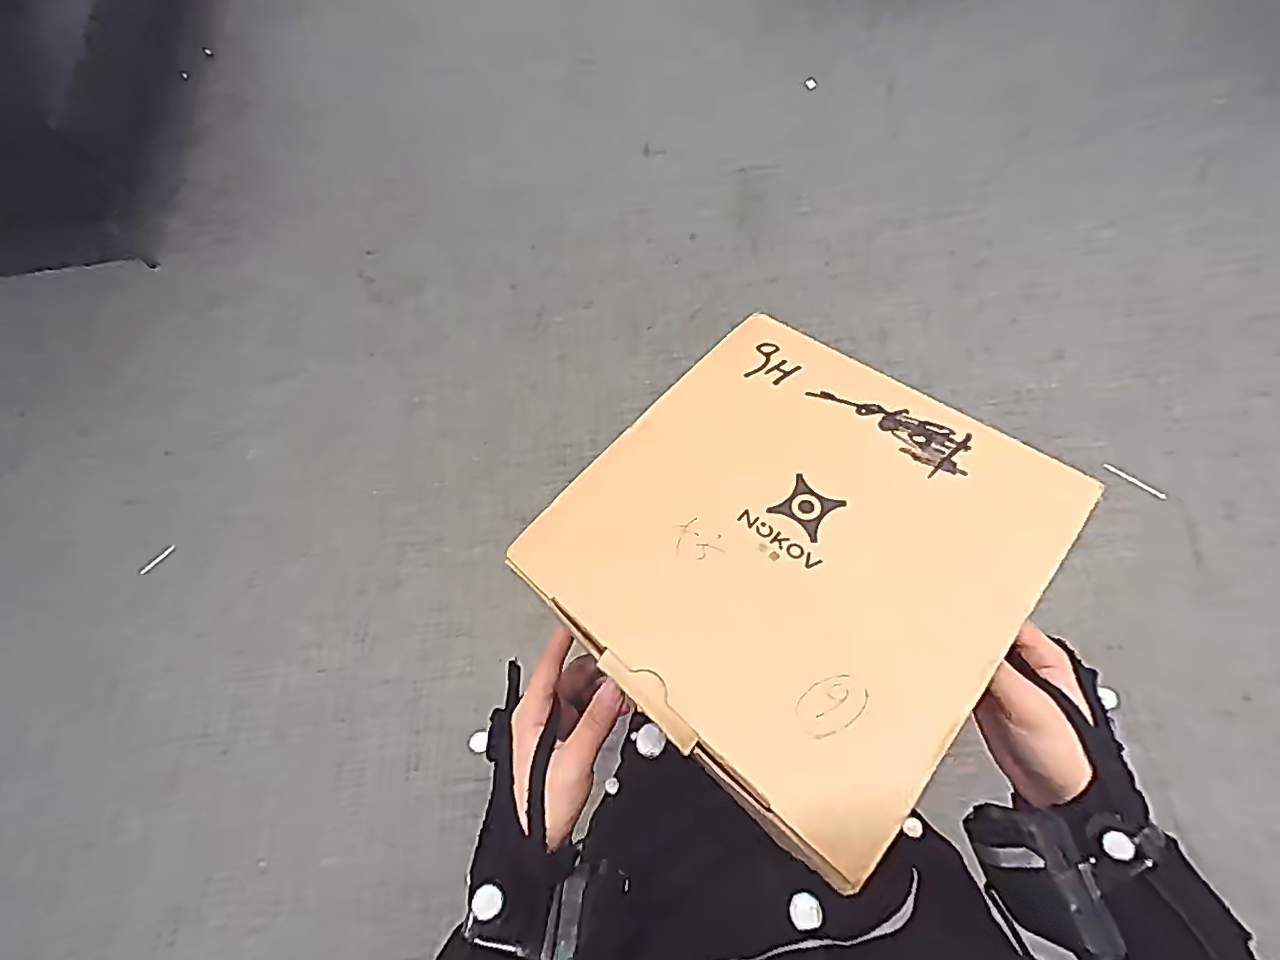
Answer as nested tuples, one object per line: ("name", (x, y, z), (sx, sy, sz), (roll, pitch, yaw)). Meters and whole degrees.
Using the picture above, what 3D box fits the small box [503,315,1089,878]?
("small box", (0.068, 0.057, 0.284), (0.168, 0.176, 0.179), (37, 72, 26))
